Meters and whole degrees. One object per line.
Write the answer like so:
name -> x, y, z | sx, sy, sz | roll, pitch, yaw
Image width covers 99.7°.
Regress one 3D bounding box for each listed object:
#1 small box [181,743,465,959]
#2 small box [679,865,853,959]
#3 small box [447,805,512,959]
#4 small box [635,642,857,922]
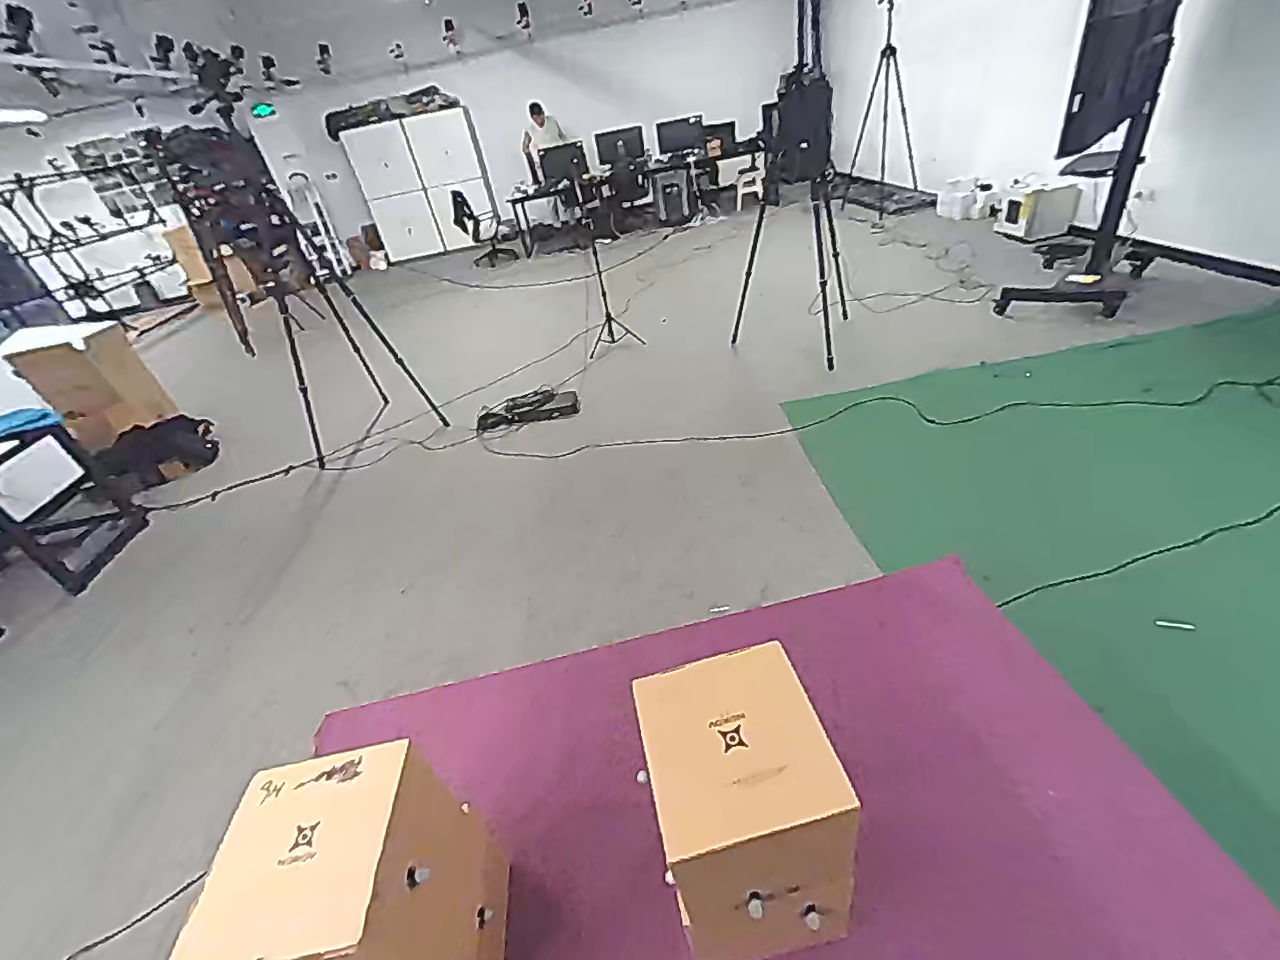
small box -> -0.289, 0.402, 0.540 | 0.168, 0.176, 0.179 | -12, 36, 0
small box -> 0.131, 0.437, 0.646 | 0.179, 0.176, 0.168 | -14, 34, -2
small box -> -0.257, 0.529, 0.640 | 0.168, 0.176, 0.179 | -13, 35, 0
small box -> 0.100, 0.304, 0.555 | 0.168, 0.176, 0.179 | -15, 35, -2
